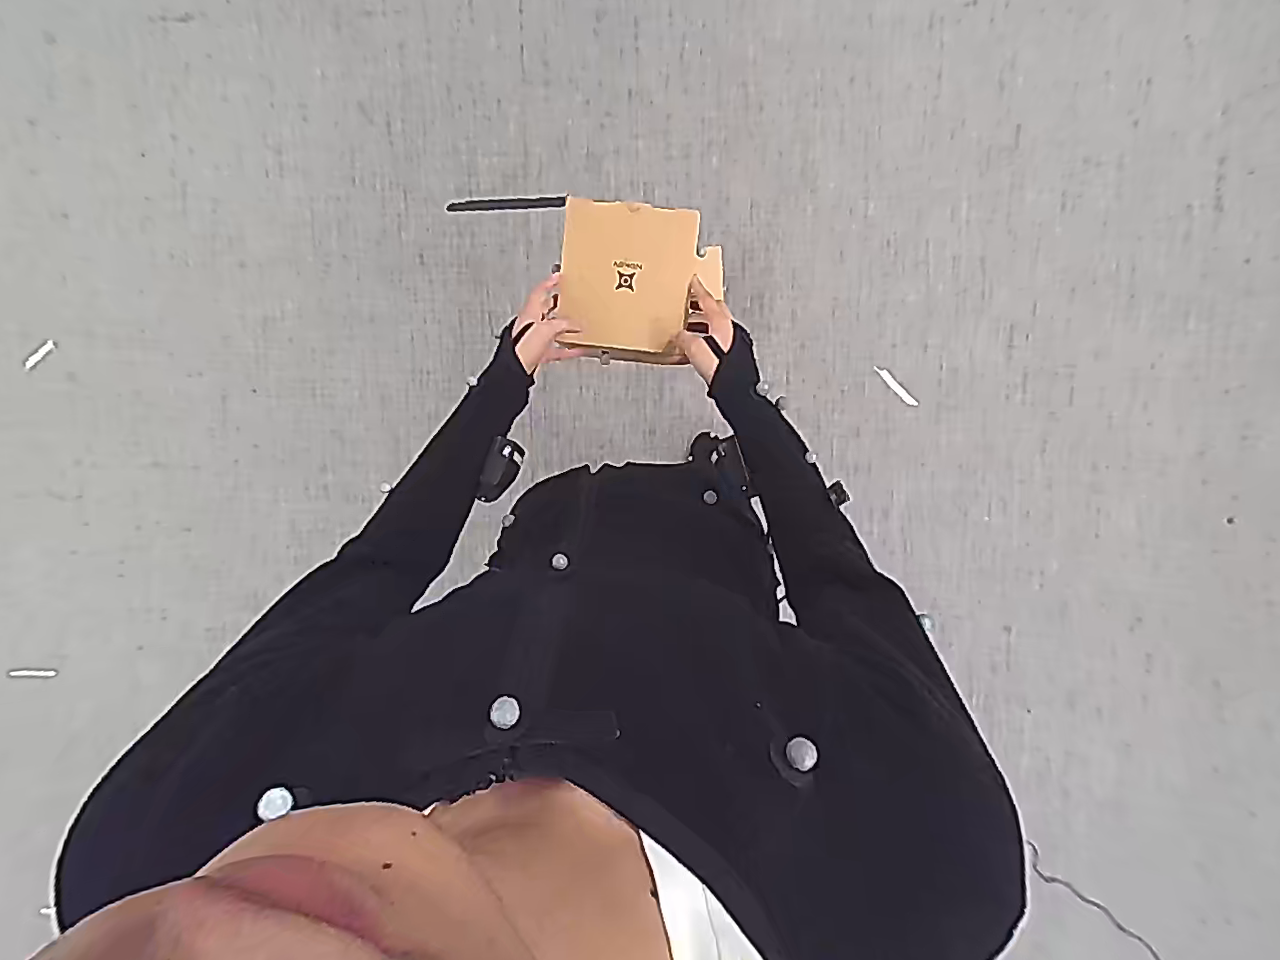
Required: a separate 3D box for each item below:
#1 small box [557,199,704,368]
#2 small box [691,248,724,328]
[{"bbox_3d":[-0.011,-0.250,0.731,0.168,0.176,0.179,6,96,0],"label":"small box"},{"bbox_3d":[0.139,-0.521,1.494,0.168,0.176,0.179,-3,93,2],"label":"small box"}]
